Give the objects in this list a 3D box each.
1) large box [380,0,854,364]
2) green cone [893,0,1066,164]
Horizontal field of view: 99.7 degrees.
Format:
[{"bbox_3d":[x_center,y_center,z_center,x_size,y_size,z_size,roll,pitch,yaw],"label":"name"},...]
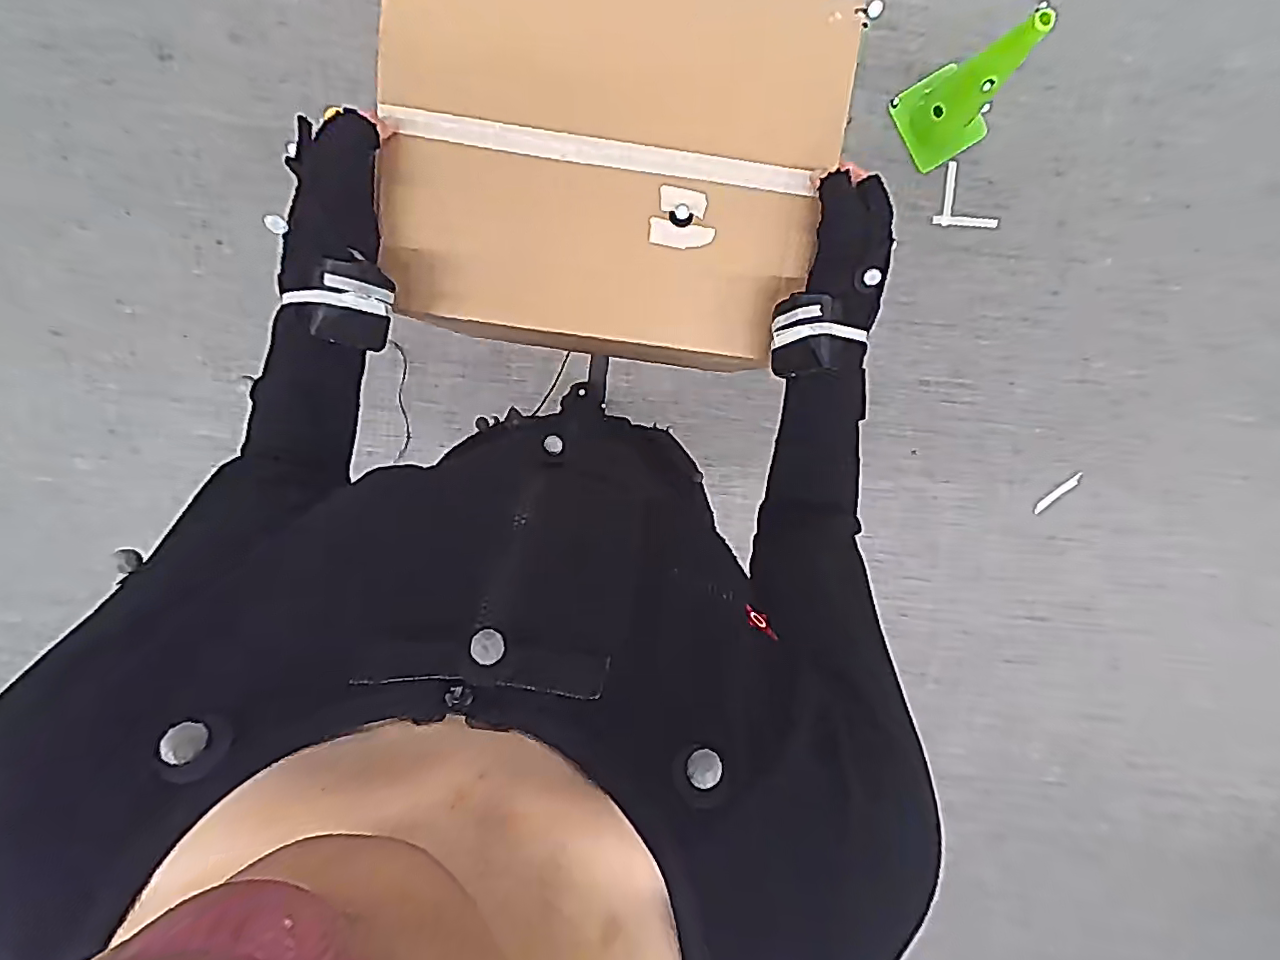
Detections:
[{"bbox_3d":[-0.035,-0.318,0.627,0.408,0.320,0.320,7,100,-5],"label":"large box"},{"bbox_3d":[0.769,-0.907,1.191,0.202,0.368,0.200,-32,98,1],"label":"green cone"}]
